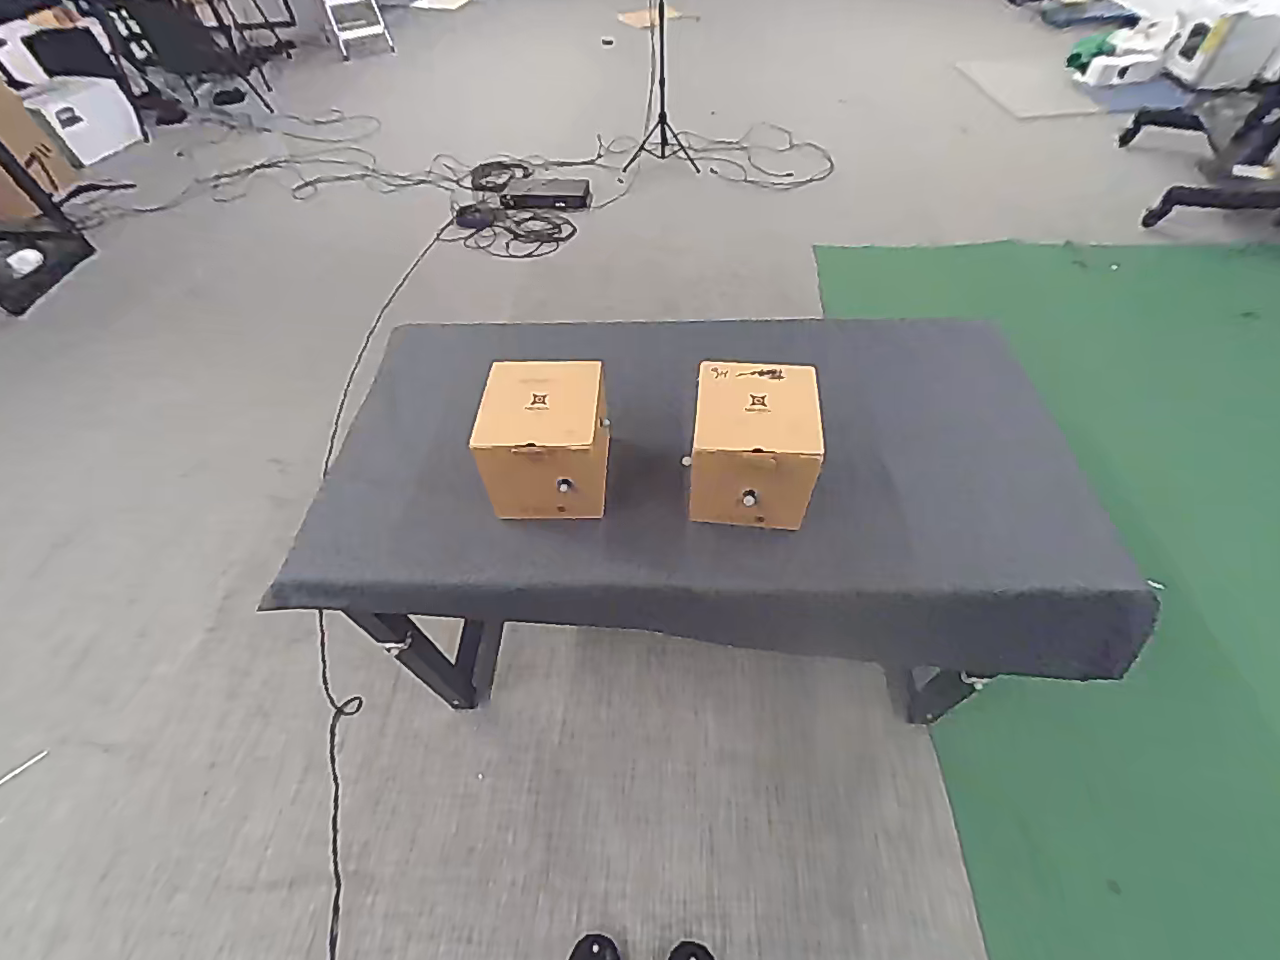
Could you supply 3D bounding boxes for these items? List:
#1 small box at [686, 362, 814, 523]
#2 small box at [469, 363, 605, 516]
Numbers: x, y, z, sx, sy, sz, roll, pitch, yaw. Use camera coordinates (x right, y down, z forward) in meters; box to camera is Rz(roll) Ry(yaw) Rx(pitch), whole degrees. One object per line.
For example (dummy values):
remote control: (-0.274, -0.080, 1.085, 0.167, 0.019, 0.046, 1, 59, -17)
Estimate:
small box: (0.157, -0.052, 0.804, 0.168, 0.176, 0.179, 4, 53, 7)
small box: (-0.143, -0.058, 0.830, 0.168, 0.176, 0.179, 0, 51, 1)
